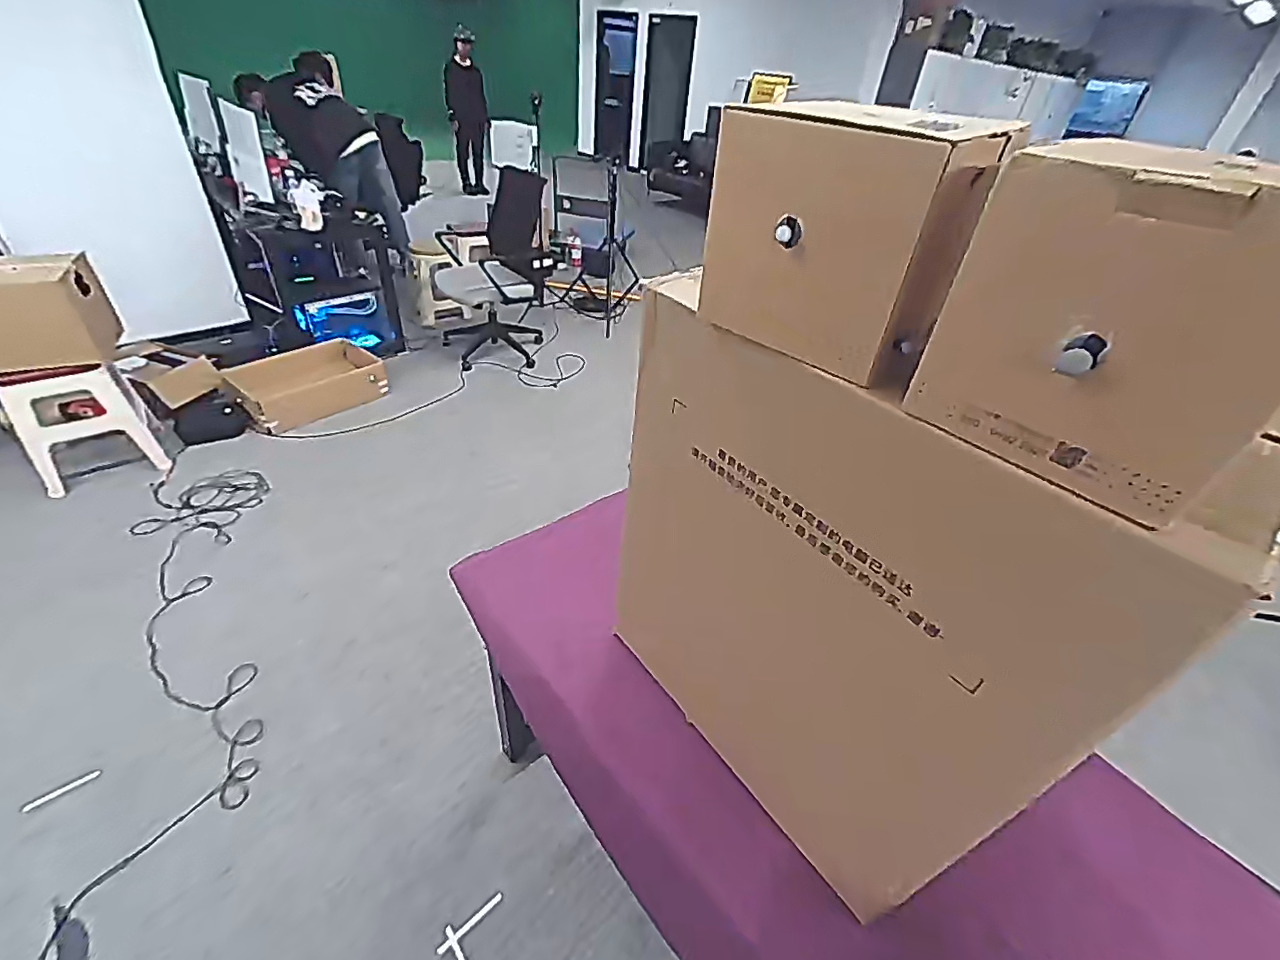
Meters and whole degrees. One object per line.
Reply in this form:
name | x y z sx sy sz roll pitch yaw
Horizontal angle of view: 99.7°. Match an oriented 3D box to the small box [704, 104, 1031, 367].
small box | 0.176 -0.210 0.460 0.168 0.176 0.179 -29 48 -36
